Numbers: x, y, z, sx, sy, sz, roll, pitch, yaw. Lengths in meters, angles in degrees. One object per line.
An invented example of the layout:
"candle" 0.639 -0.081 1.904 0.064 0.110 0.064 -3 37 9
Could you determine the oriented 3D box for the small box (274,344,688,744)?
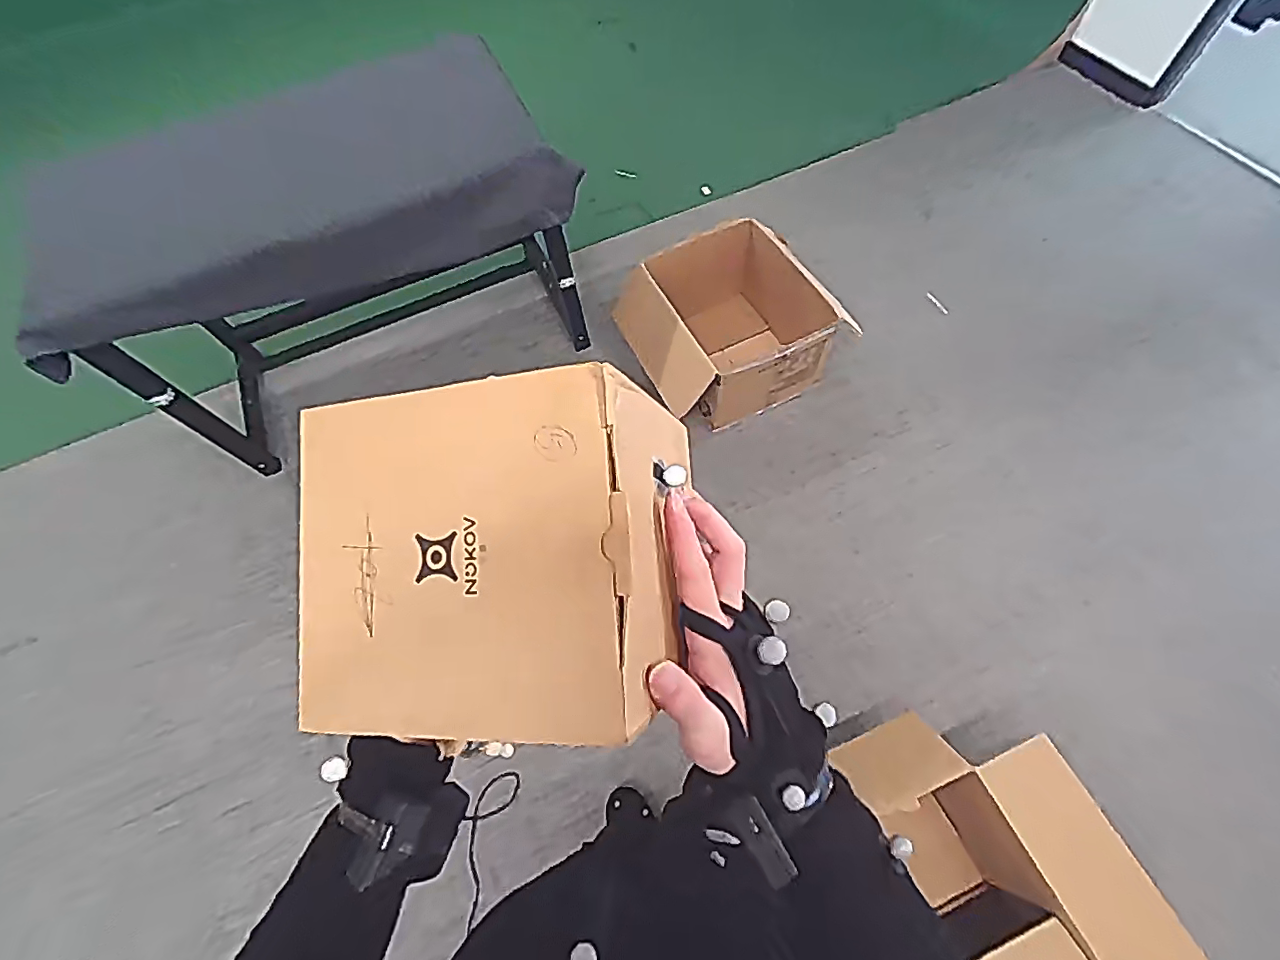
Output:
"small box" -0.072 0.037 0.318 0.179 0.176 0.168 -6 82 17
